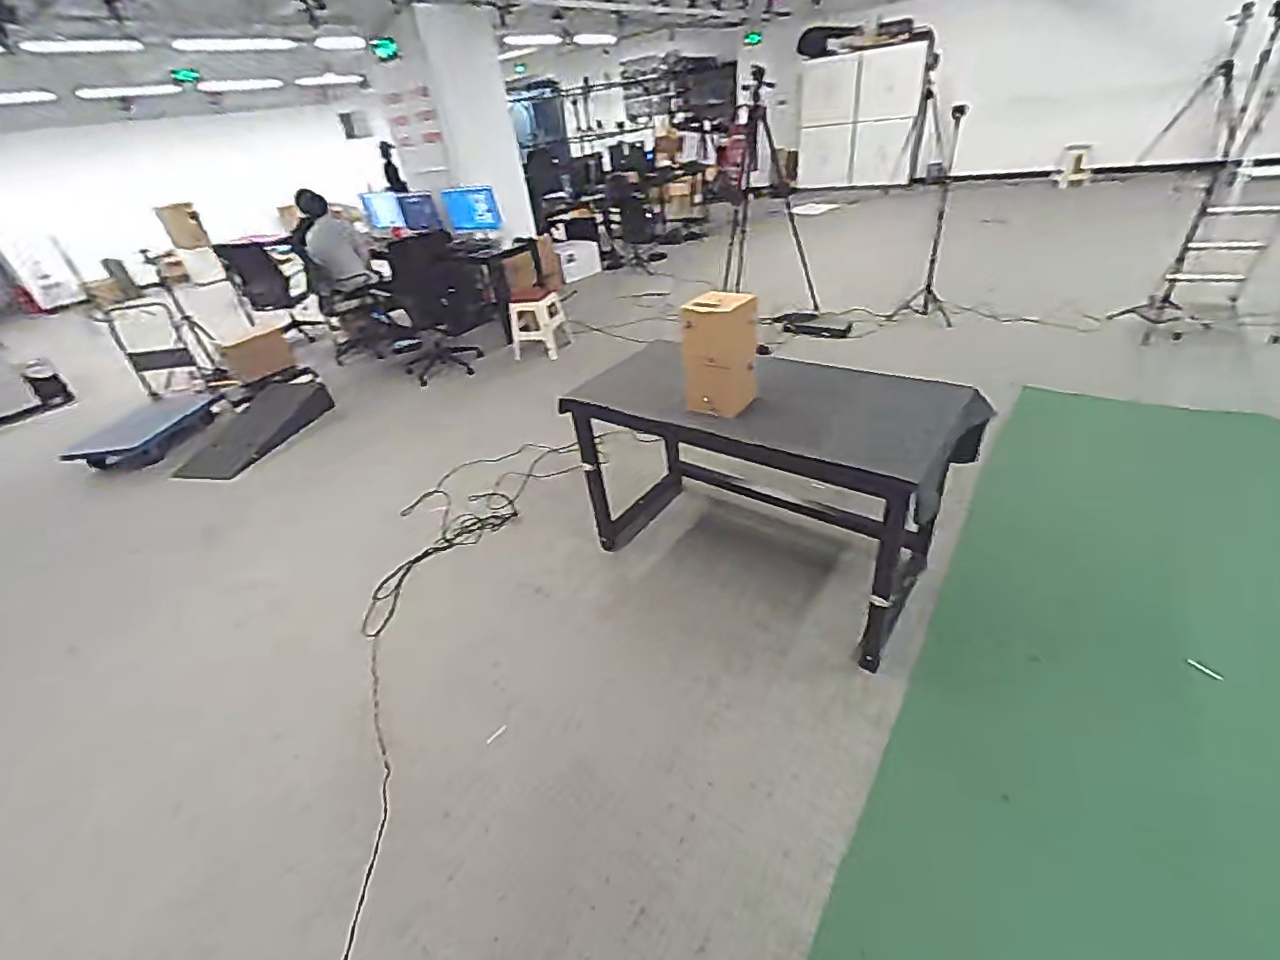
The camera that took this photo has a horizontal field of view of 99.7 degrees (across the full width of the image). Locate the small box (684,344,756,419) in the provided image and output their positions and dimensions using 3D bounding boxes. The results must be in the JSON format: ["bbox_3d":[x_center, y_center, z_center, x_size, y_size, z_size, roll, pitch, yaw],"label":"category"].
[{"bbox_3d":[0.256,-0.317,1.723,0.168,0.176,0.179,17,41,33],"label":"small box"}]
